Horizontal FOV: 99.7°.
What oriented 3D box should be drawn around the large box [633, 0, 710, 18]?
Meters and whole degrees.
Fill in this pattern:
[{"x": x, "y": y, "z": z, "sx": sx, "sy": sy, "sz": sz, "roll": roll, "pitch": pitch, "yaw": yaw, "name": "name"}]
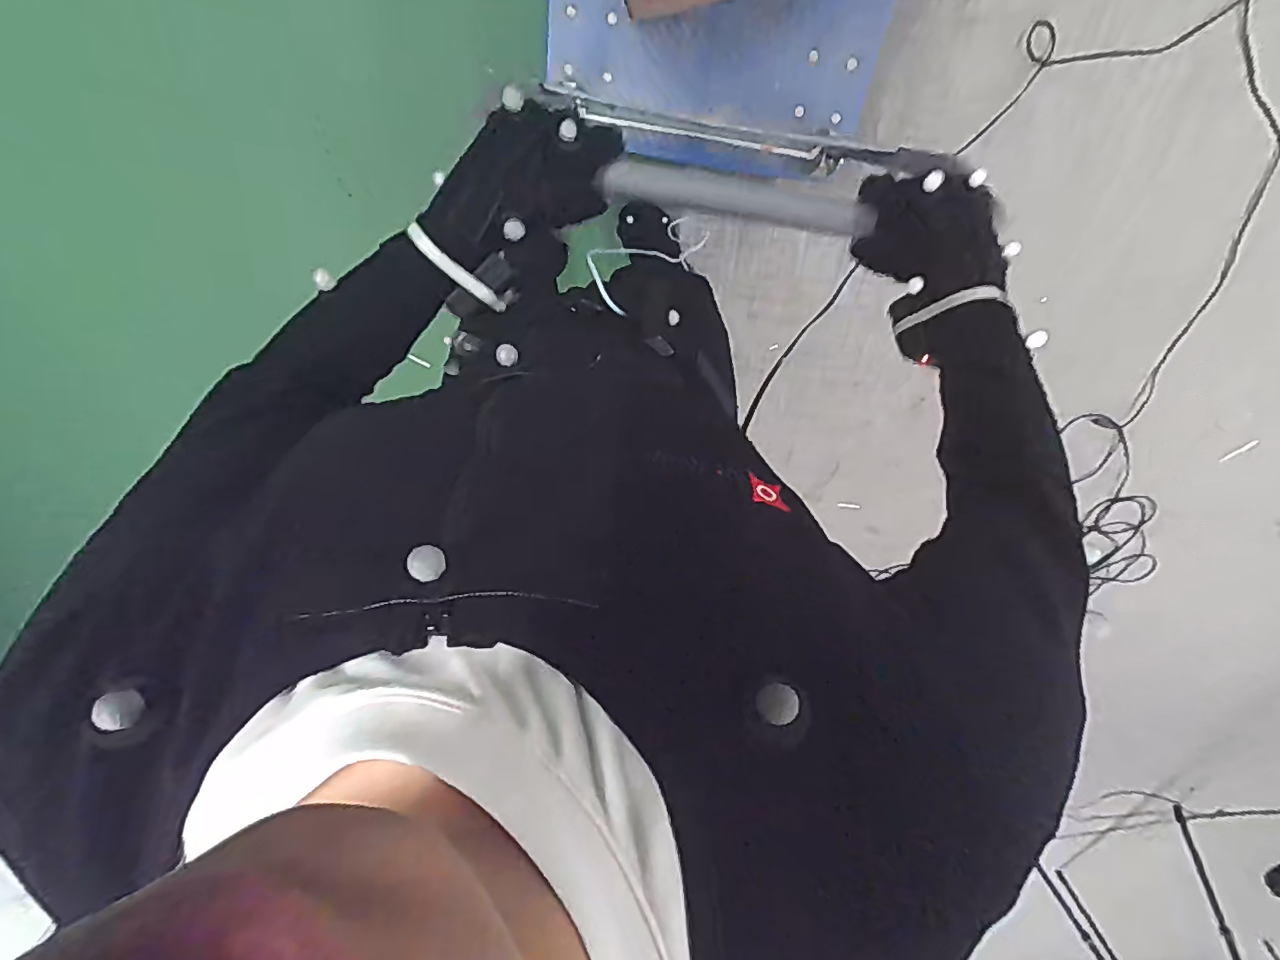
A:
[{"x": 0.157, "y": -0.850, "z": 0.687, "sx": 0.408, "sy": 0.320, "sz": 0.320, "roll": -8, "pitch": 123, "yaw": 9, "name": "large box"}]
